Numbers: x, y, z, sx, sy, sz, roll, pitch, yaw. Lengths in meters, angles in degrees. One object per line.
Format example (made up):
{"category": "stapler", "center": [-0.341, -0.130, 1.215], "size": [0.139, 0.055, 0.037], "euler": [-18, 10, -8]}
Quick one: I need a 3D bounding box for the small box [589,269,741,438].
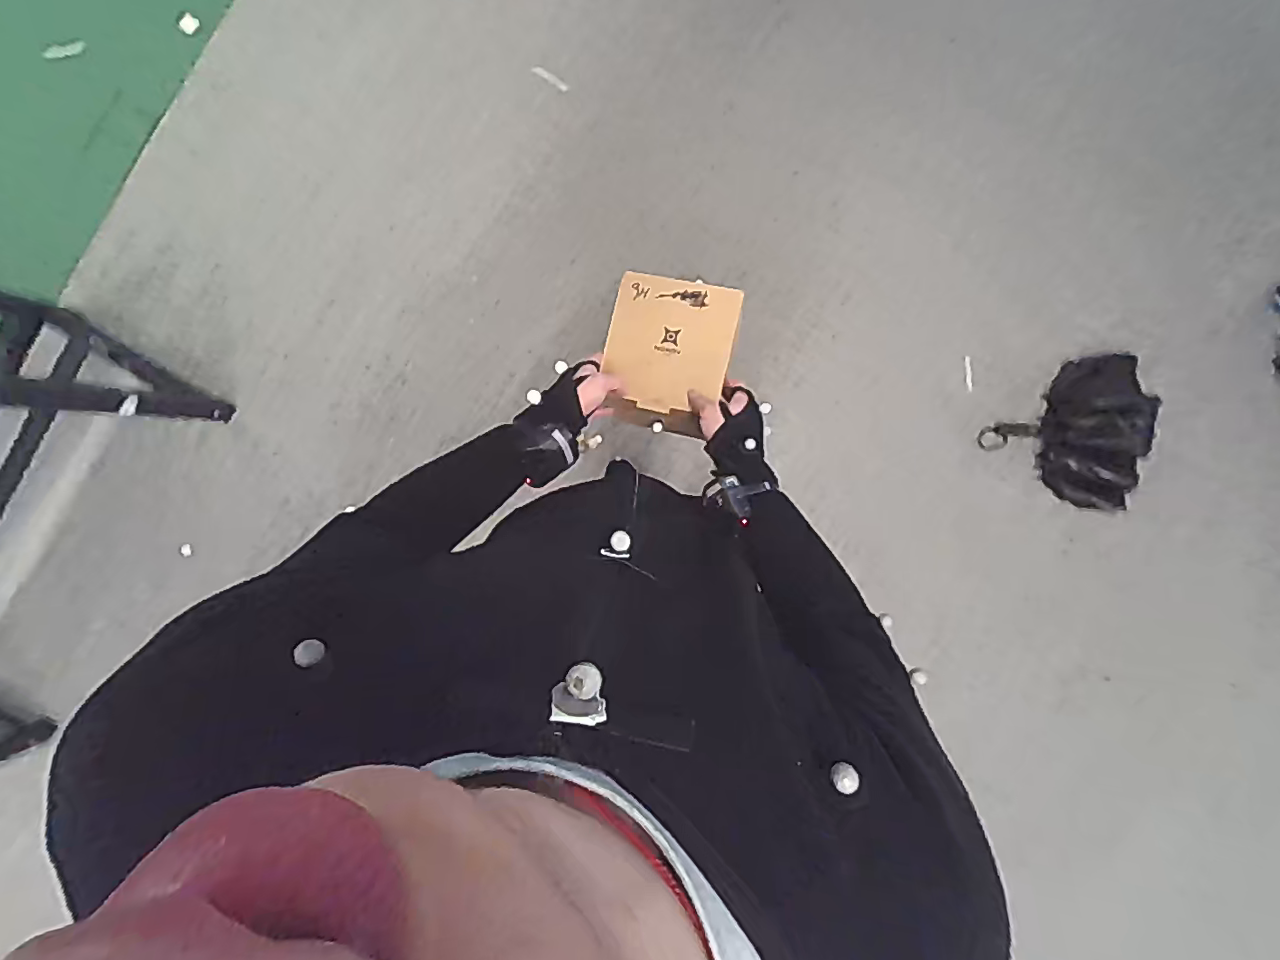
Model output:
{"category": "small box", "center": [0.042, -0.167, 0.769], "size": [0.168, 0.176, 0.179], "euler": [13, 86, 8]}
